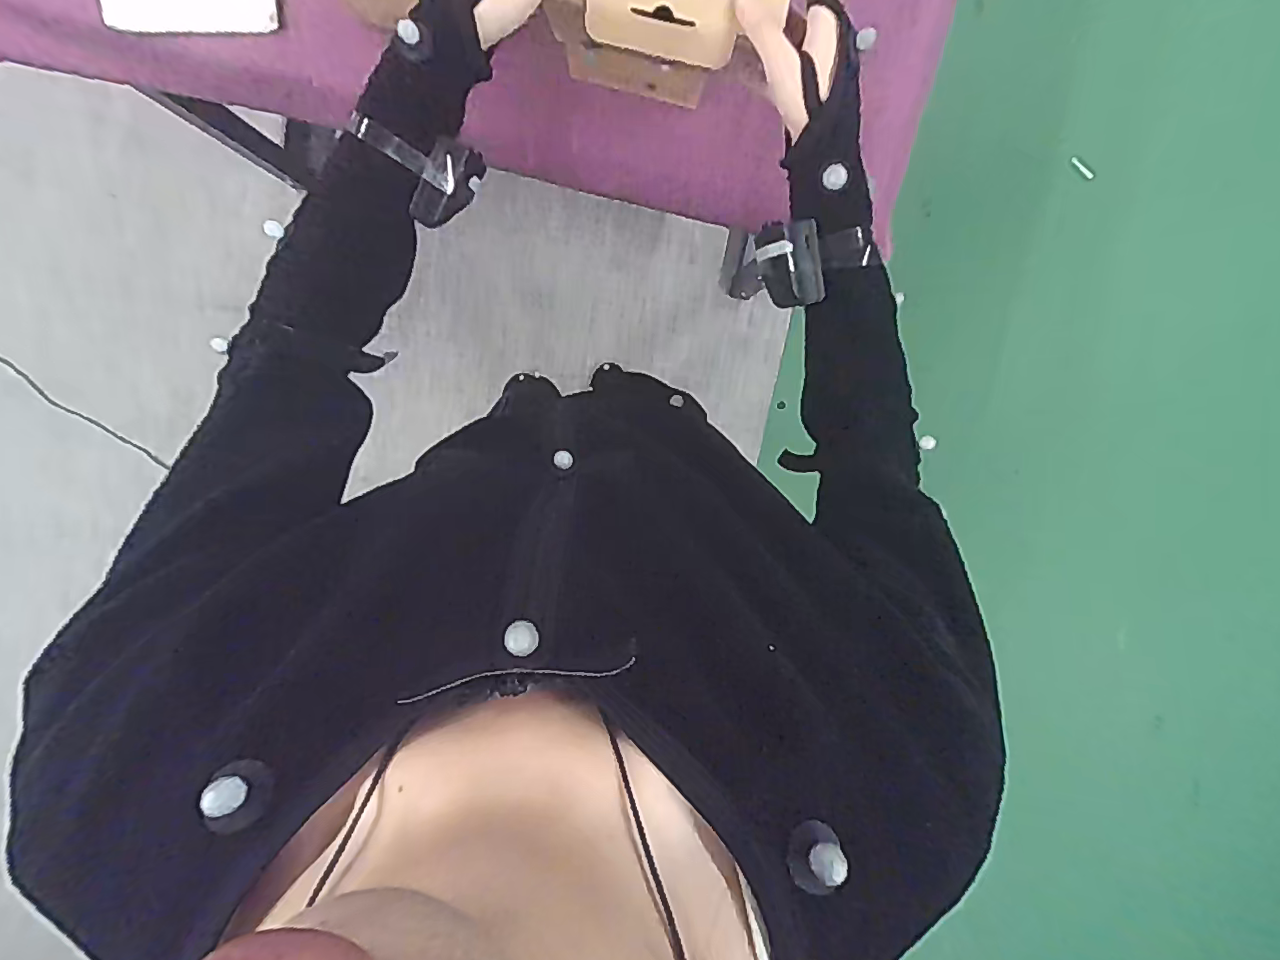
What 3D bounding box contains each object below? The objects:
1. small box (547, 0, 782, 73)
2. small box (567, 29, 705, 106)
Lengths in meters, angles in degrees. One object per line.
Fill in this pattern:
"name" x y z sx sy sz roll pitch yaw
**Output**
"small box" 0.023 -0.424 0.390 0.168 0.176 0.179 7 118 -9
"small box" 0.014 -0.563 0.602 0.168 0.176 0.179 12 97 -6
